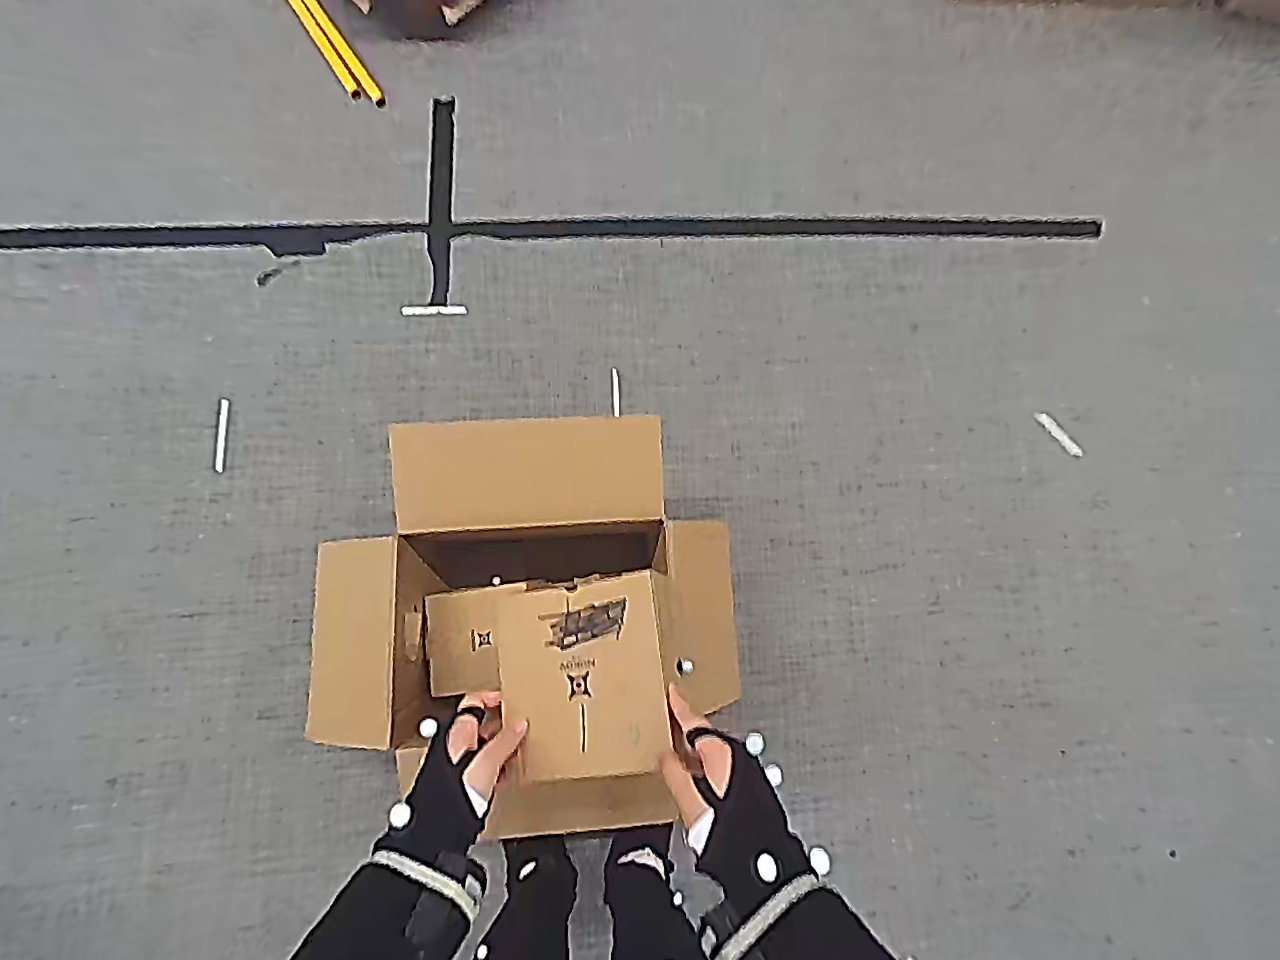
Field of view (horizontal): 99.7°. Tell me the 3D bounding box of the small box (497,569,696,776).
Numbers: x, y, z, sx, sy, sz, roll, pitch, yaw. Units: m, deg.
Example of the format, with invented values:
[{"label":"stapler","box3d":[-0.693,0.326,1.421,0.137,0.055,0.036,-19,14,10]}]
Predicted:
[{"label":"small box","box3d":[-0.040,0.203,0.593,0.168,0.176,0.179,-11,74,12]}]
